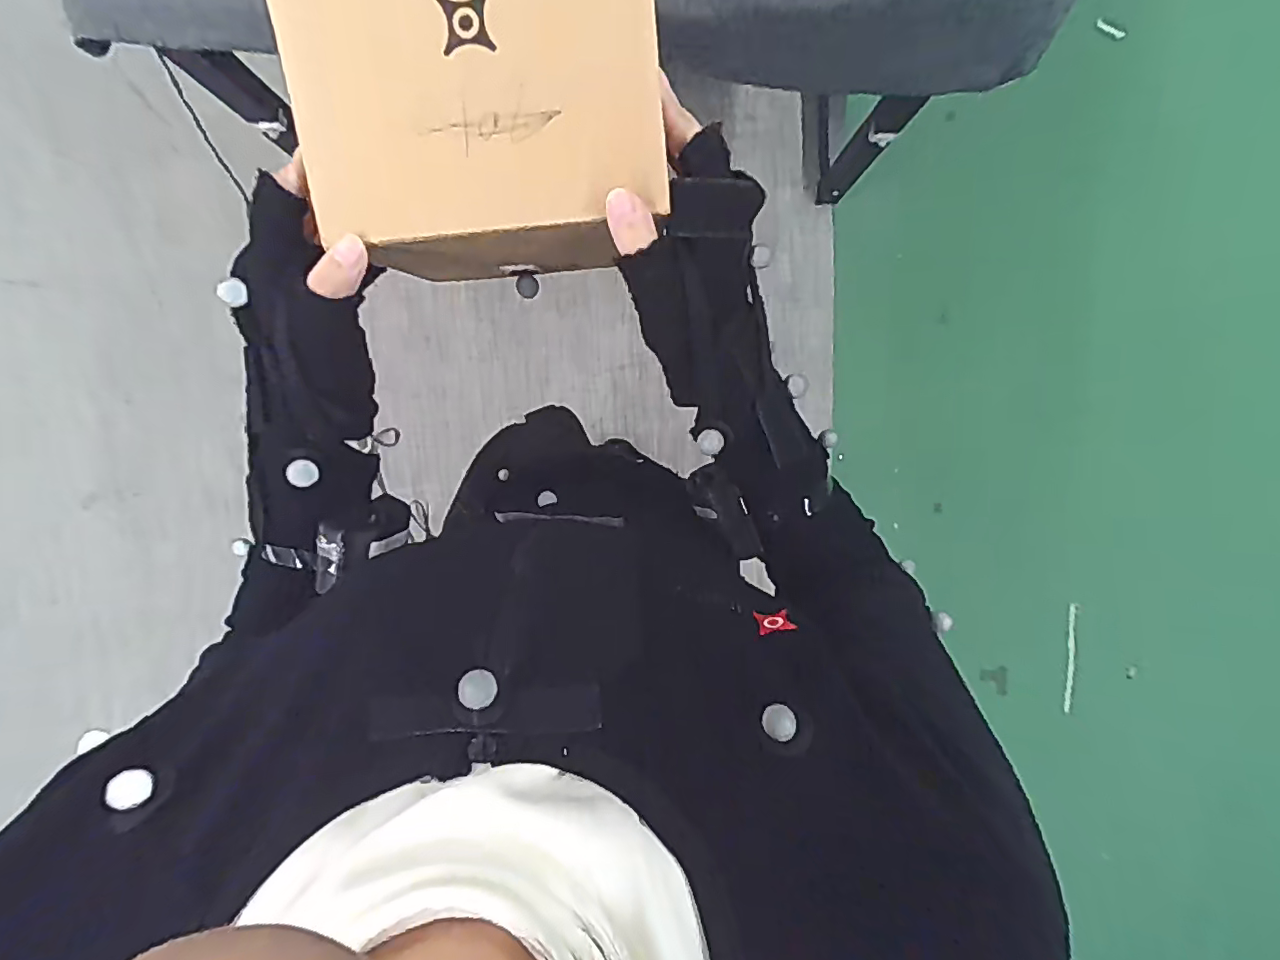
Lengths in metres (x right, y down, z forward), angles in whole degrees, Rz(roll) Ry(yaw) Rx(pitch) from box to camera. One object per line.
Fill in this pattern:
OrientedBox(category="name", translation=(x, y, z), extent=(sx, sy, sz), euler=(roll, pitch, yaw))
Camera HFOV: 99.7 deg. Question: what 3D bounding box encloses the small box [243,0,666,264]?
OrientedBox(category="small box", translation=(-0.078, -0.226, 0.290), extent=(0.168, 0.176, 0.179), euler=(-5, 105, 1))
